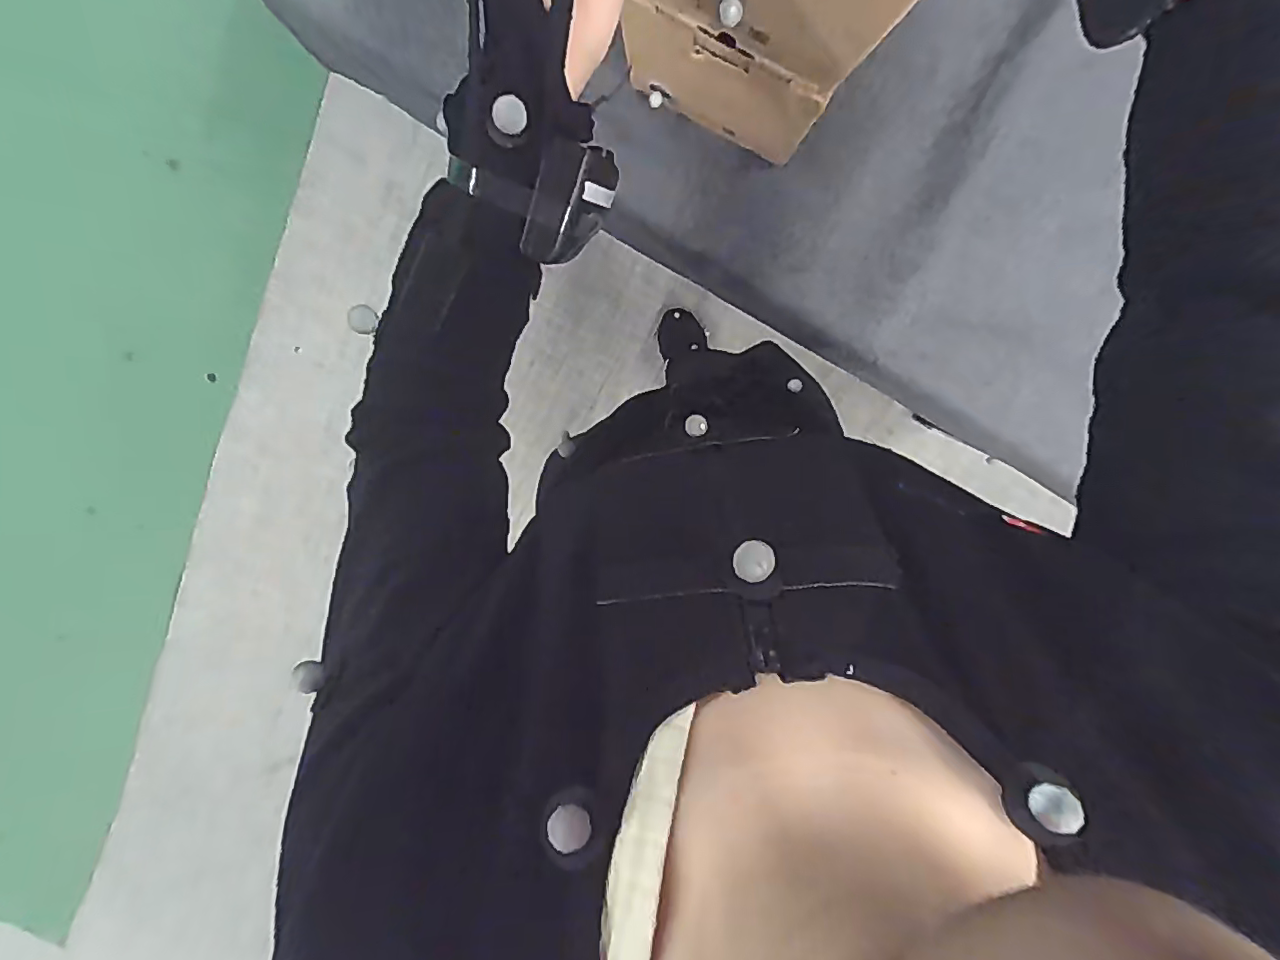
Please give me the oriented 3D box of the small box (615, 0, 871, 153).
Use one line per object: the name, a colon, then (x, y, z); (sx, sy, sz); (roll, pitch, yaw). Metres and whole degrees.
small box: (0.095, -0.393, 0.418); (0.168, 0.176, 0.179); (25, 106, -5)
